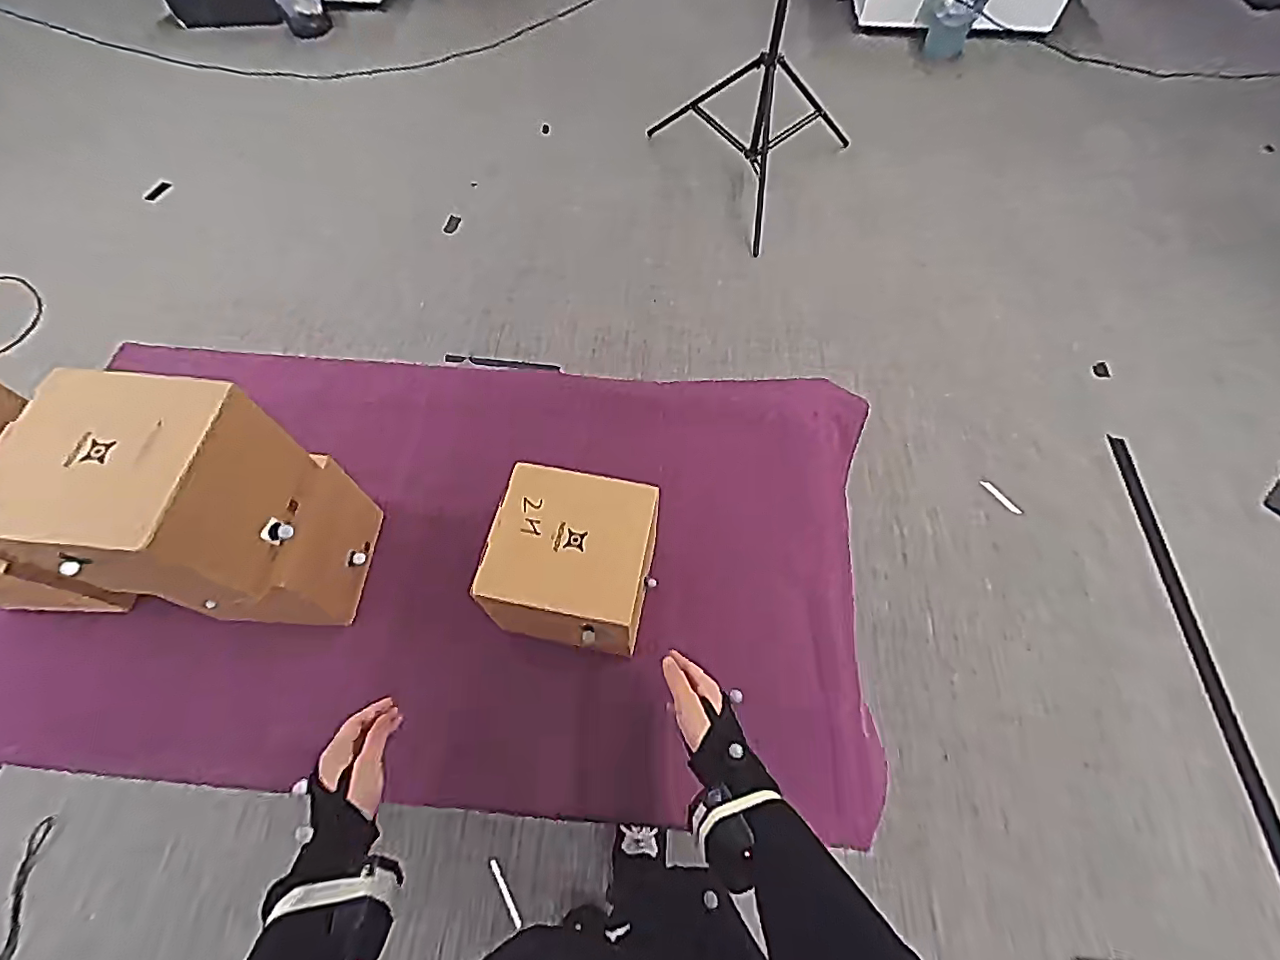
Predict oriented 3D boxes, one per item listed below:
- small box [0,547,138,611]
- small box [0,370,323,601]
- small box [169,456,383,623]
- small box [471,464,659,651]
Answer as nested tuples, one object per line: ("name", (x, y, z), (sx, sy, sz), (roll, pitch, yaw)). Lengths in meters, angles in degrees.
("small box", (-0.755, 0.063, 0.690), (0.168, 0.176, 0.179), (1, 61, 0))
("small box", (-0.462, 0.014, 0.533), (0.179, 0.176, 0.168), (5, 63, 1))
("small box", (-0.460, 0.078, 0.682), (0.179, 0.176, 0.168), (3, 62, 0))
("small box", (-0.078, 0.104, 0.669), (0.179, 0.176, 0.168), (10, 61, 6))
